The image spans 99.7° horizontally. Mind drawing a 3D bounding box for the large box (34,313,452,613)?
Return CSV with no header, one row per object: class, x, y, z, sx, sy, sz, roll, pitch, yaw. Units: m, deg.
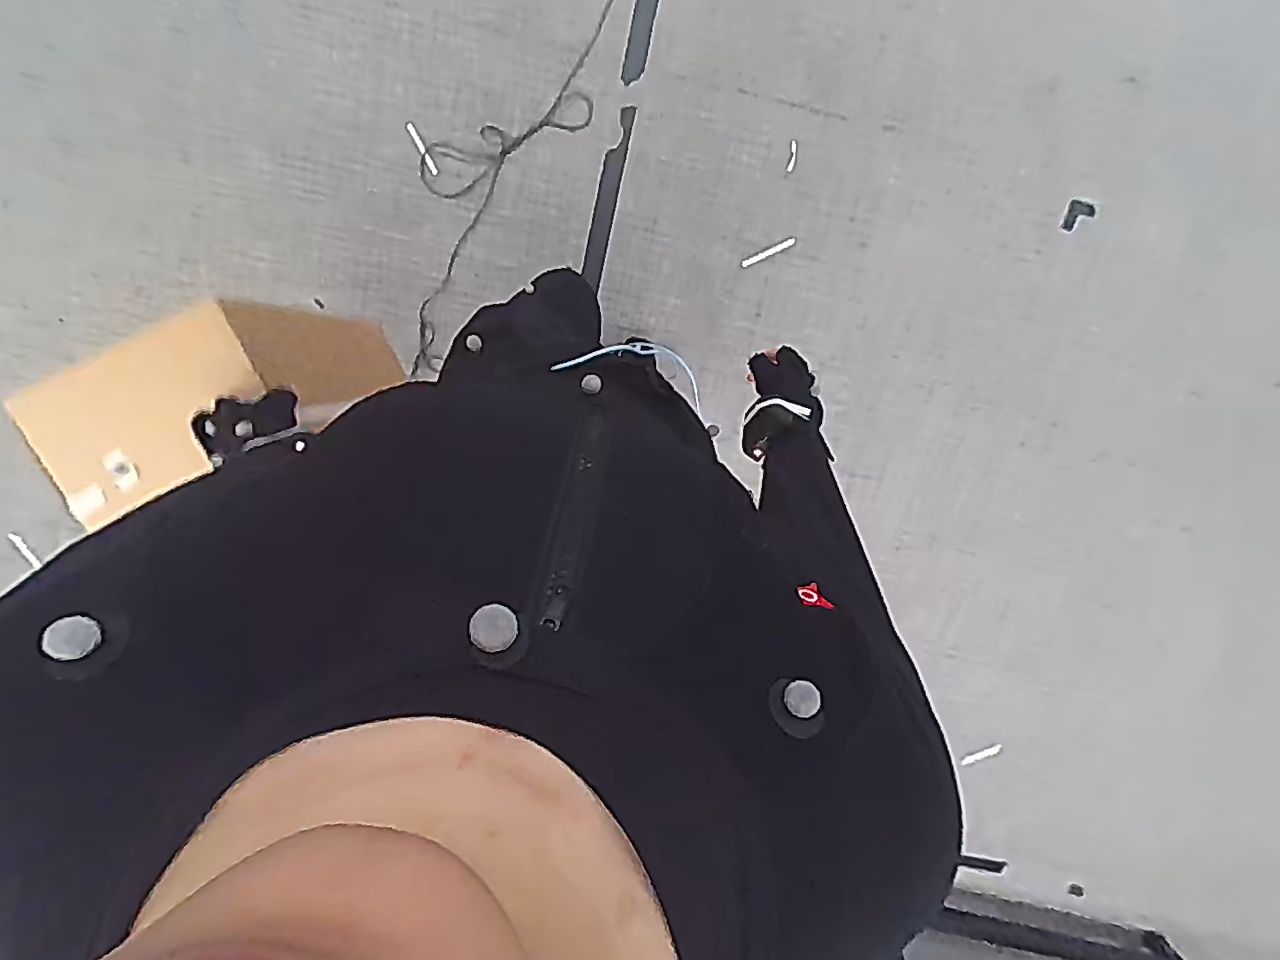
large box,-0.580,-0.047,0.891,0.320,0.408,0.320,-24,100,5
